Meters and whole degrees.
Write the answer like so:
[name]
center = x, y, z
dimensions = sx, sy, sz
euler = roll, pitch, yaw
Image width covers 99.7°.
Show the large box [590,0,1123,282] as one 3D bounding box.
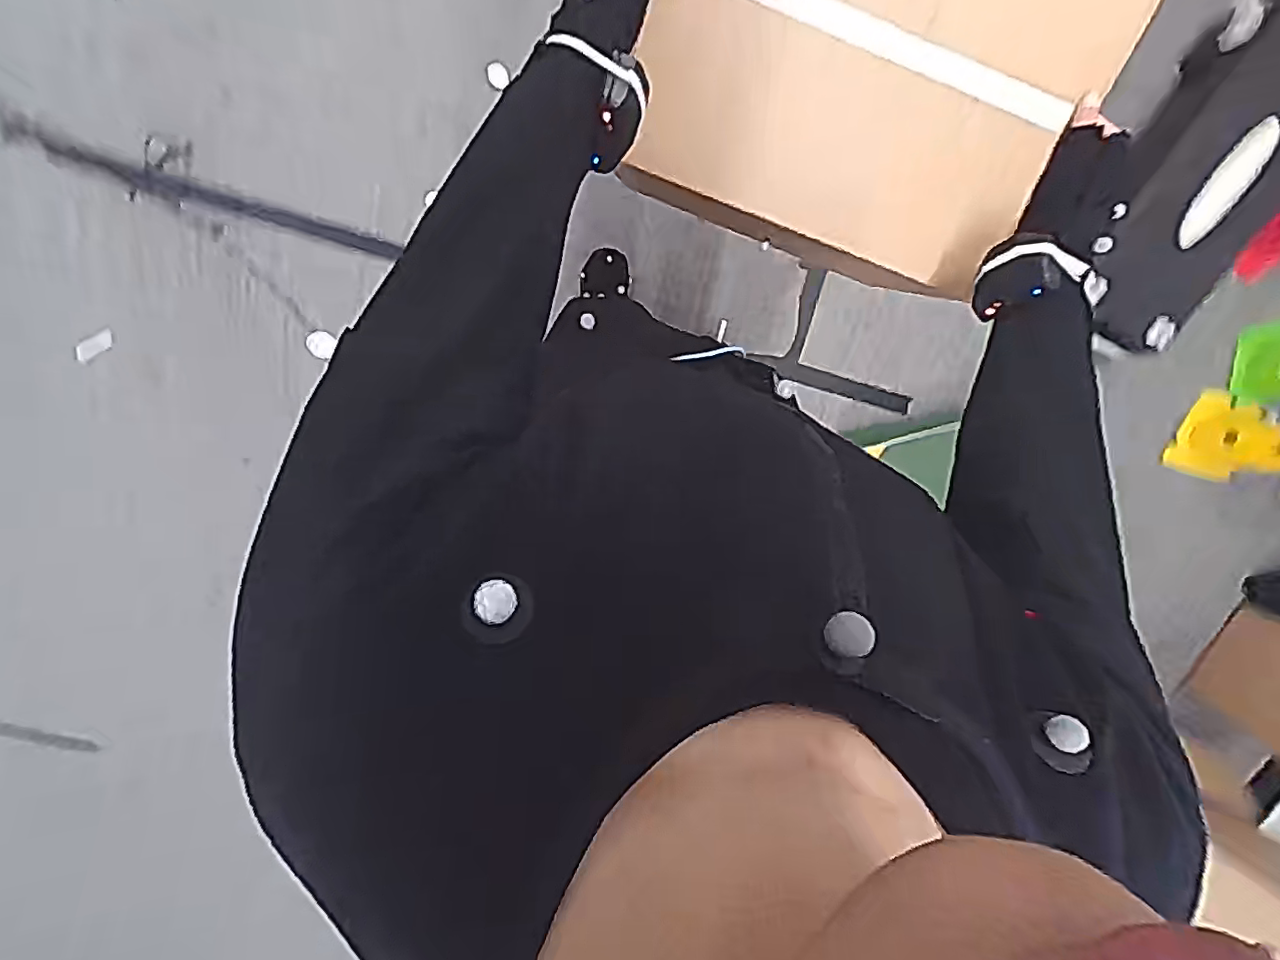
[large box]
center = 0.196, -0.446, 0.602
dimensions = 0.408, 0.320, 0.320
euler = 19, 112, -5
